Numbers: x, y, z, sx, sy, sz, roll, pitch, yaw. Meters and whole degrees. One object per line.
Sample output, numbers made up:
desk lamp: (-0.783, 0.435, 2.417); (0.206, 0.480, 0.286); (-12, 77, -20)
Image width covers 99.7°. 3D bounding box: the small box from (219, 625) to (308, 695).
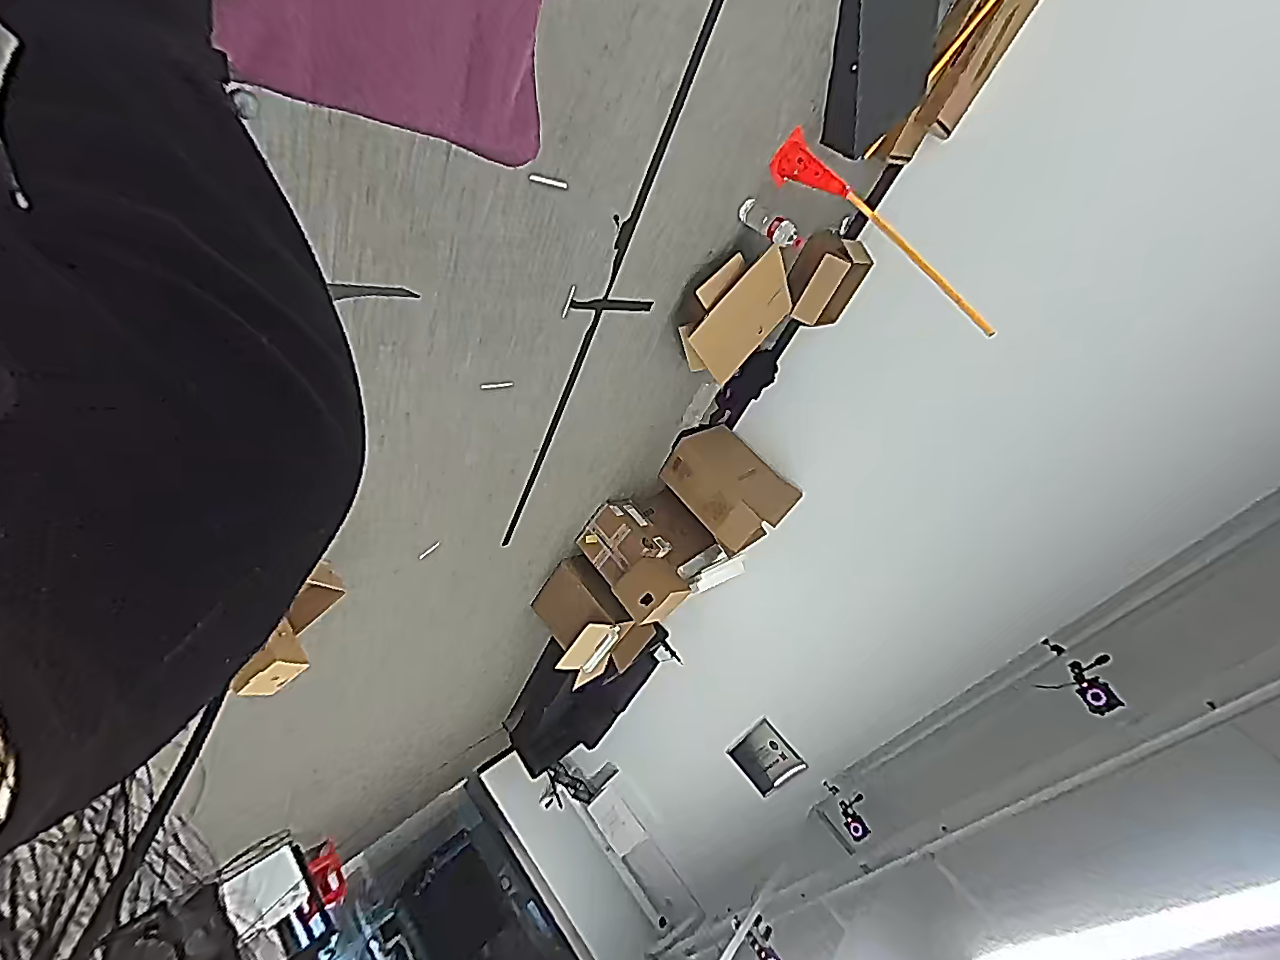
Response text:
small box: (-1.347, 0.641, 1.932); (0.168, 0.176, 0.179); (-39, 158, -11)
